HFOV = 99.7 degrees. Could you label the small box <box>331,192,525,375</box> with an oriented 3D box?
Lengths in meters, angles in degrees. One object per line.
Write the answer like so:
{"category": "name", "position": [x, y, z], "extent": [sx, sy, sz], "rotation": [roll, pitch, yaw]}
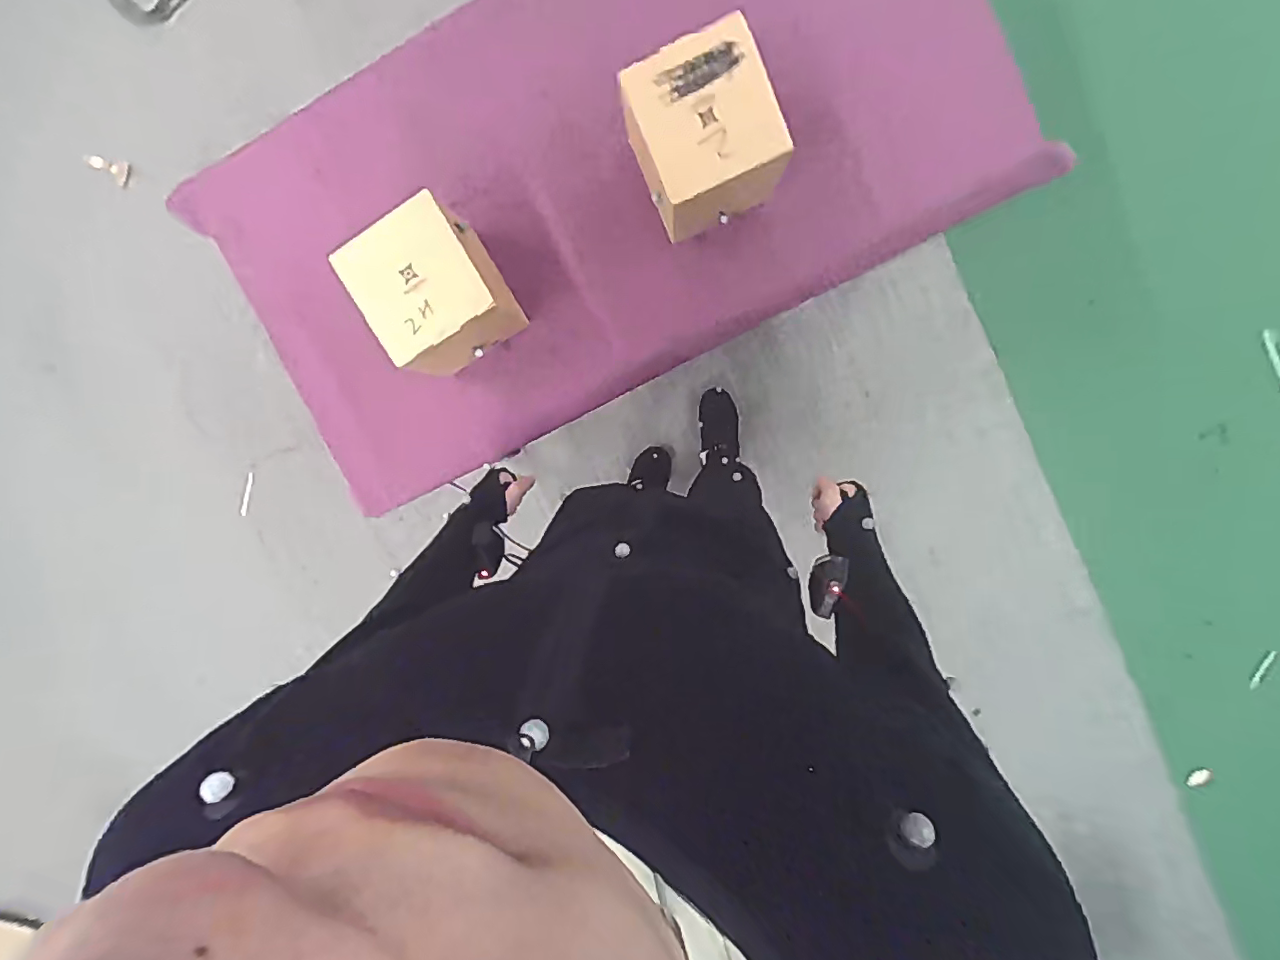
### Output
{"category": "small box", "position": [-0.299, -0.274, 0.800], "extent": [0.168, 0.176, 0.179], "rotation": [-31, 93, 8]}
